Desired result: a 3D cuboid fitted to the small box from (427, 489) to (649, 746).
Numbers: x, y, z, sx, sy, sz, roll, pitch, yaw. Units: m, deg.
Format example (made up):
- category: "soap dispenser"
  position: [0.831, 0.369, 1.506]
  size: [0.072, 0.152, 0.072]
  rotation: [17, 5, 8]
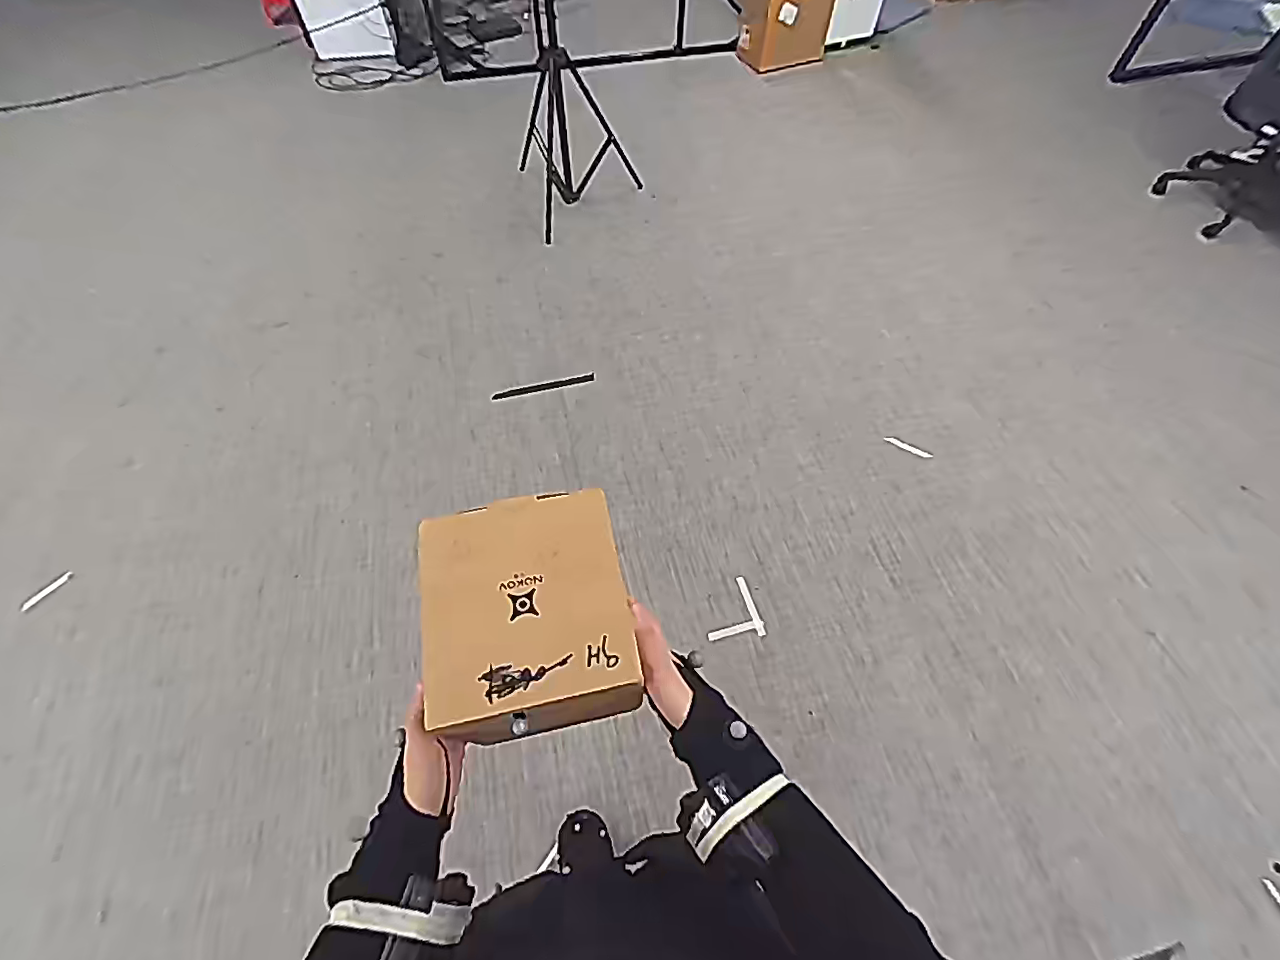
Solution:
- category: "small box"
  position: [-0.092, 0.135, 0.511]
  size: [0.168, 0.176, 0.179]
  rotation: [-11, 61, -7]
